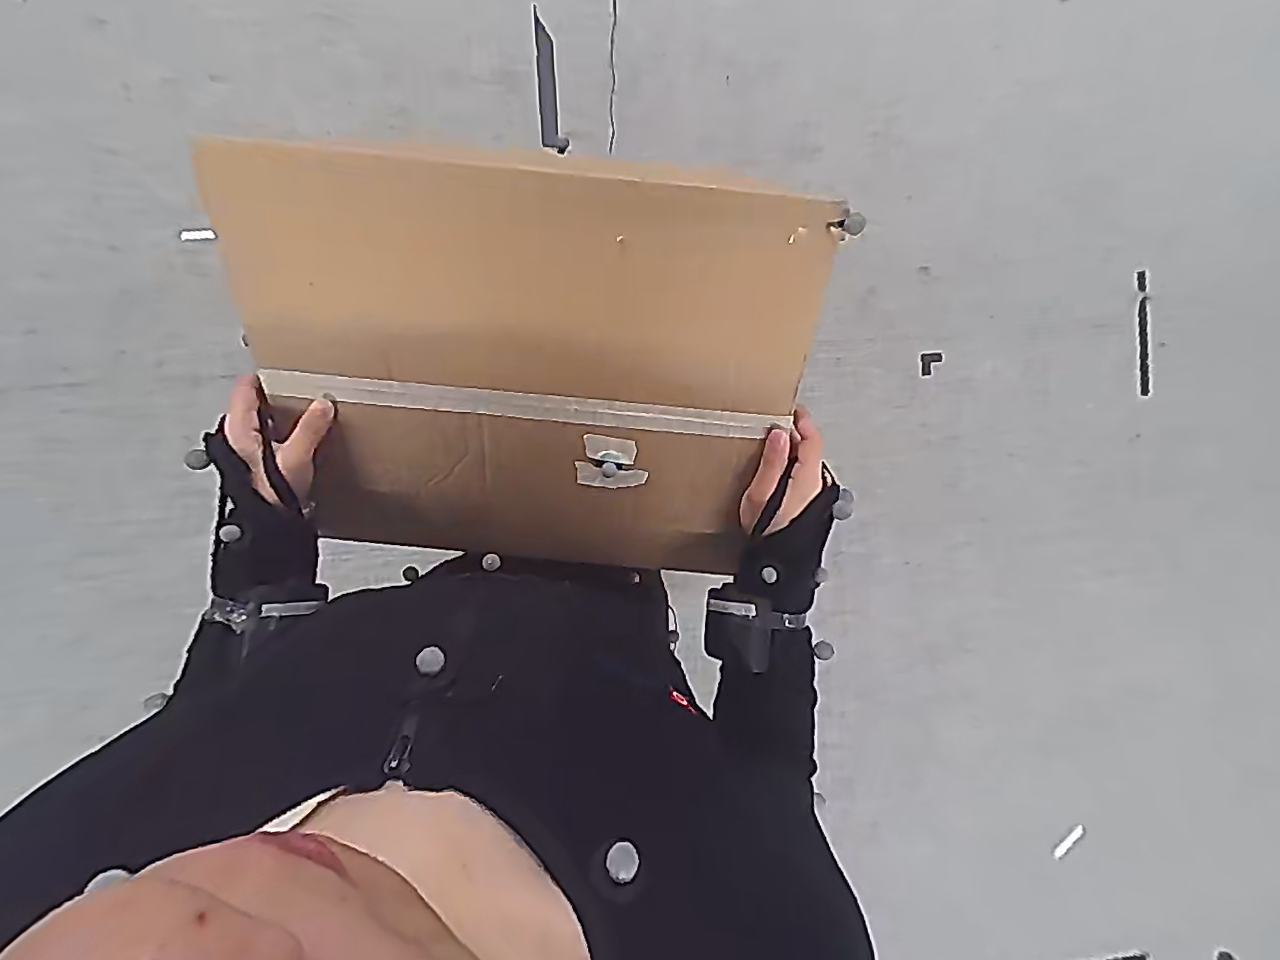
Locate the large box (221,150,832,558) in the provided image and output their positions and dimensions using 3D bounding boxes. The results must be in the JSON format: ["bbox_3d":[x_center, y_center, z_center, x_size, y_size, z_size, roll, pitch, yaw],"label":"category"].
[{"bbox_3d":[-0.081,-0.145,0.552,0.408,0.320,0.320,4,124,-2],"label":"large box"}]
